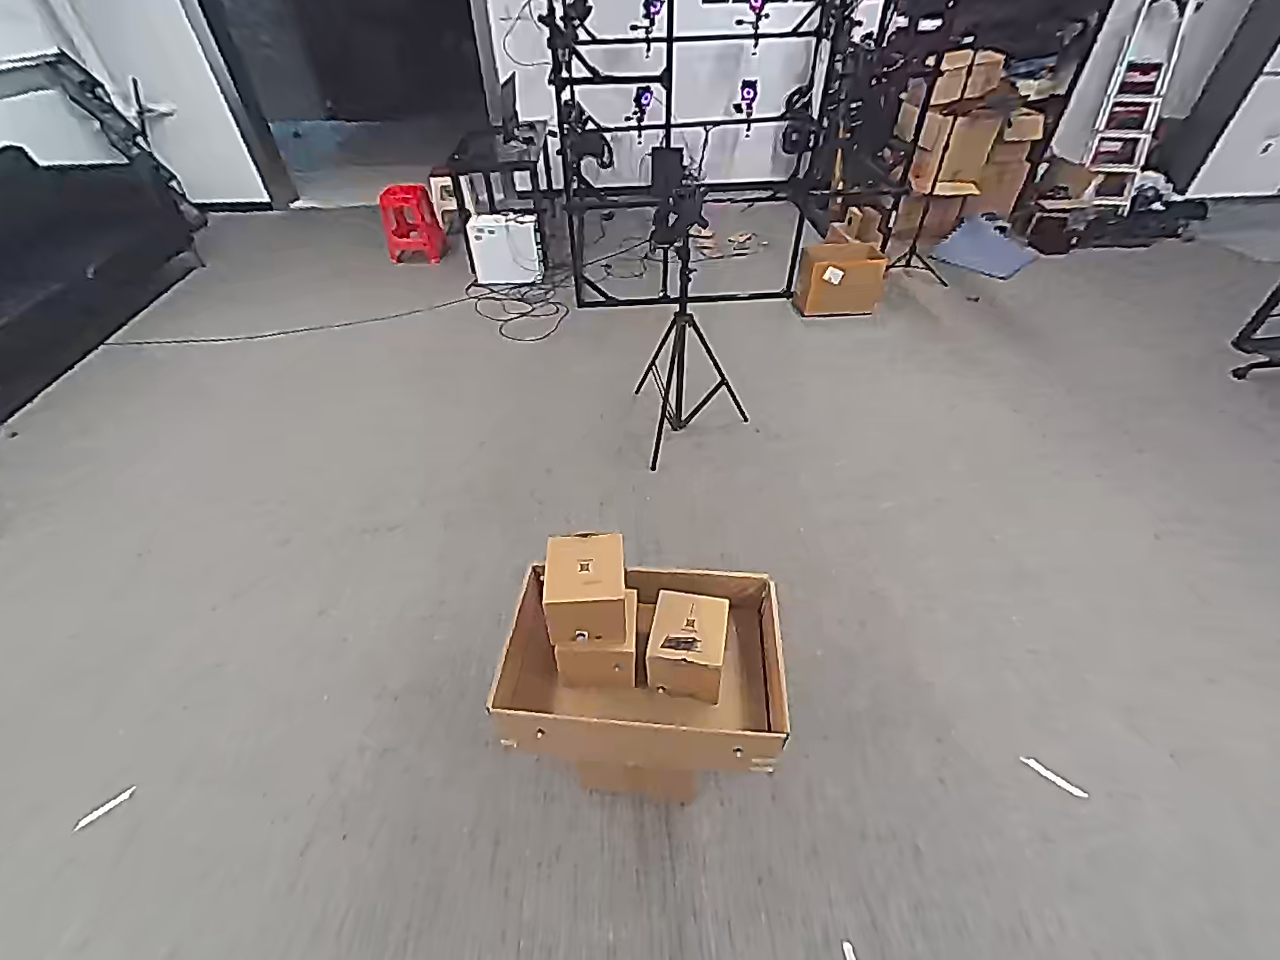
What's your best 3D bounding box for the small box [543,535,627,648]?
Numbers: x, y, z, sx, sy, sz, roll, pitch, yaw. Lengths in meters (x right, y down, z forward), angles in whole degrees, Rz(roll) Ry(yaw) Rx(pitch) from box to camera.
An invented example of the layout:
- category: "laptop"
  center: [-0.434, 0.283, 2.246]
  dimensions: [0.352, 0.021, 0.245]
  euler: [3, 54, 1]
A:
- category: "small box"
  center: [-0.113, 0.241, 1.175]
  dimensions: [0.168, 0.176, 0.179]
  euler: [-3, 42, -2]
